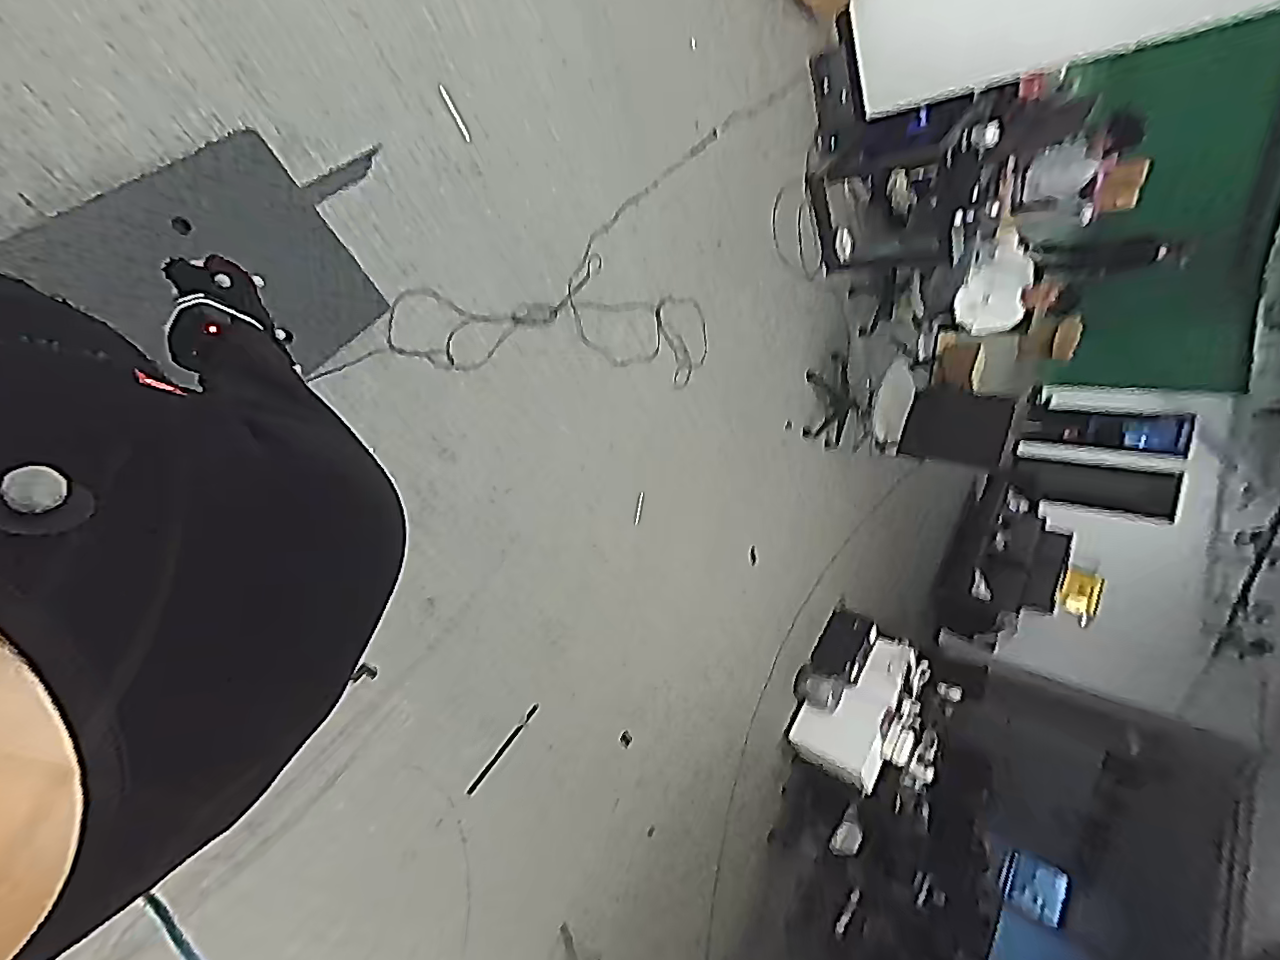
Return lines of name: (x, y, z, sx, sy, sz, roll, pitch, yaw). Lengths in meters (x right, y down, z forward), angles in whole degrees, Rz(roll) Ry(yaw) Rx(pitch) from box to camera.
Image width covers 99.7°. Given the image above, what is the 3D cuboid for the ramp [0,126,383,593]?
ramp: (-1.049, -0.308, 1.143, 0.991, 0.206, 0.509, -53, 132, -24)
